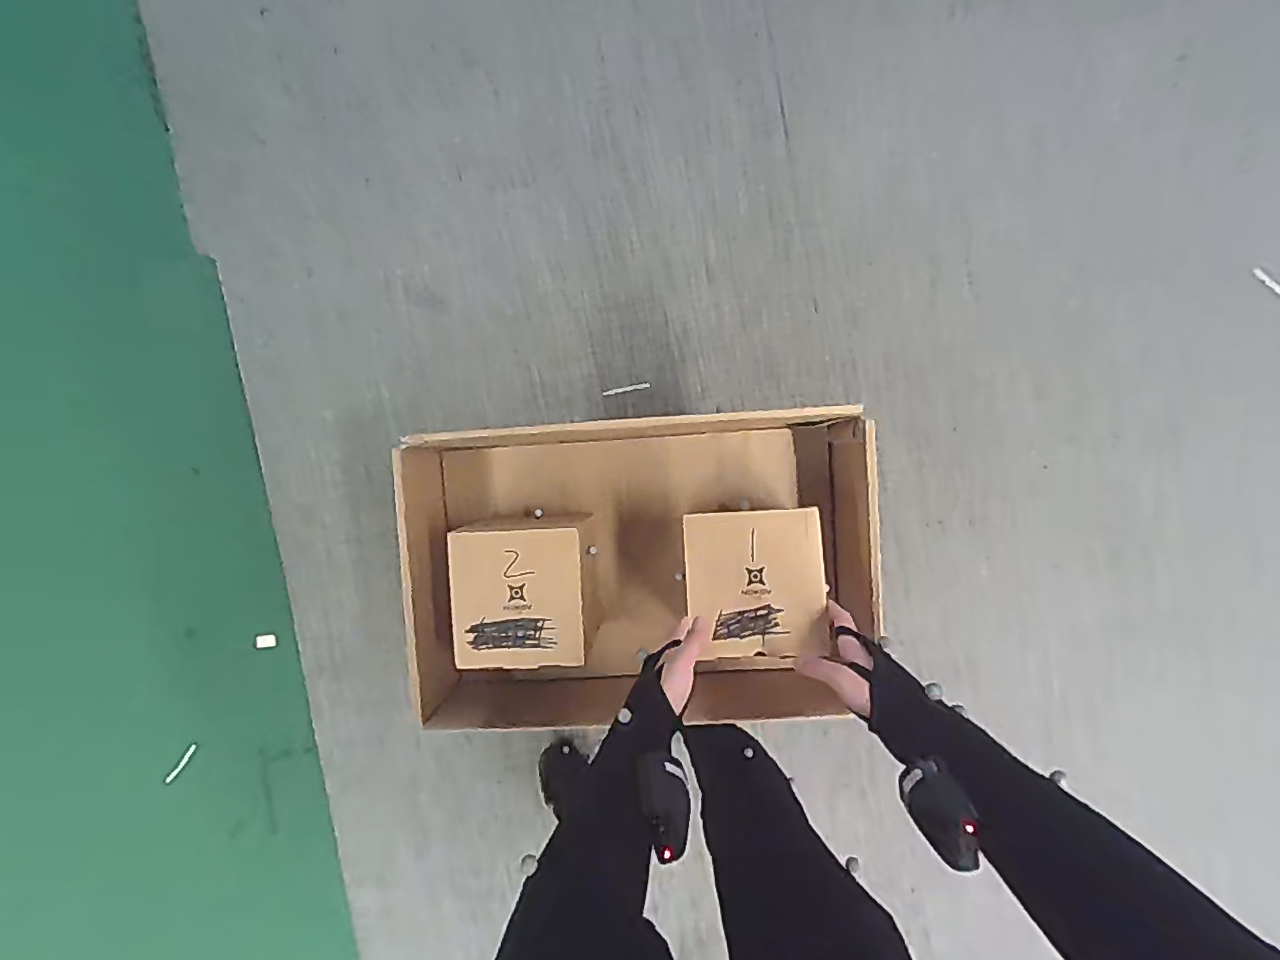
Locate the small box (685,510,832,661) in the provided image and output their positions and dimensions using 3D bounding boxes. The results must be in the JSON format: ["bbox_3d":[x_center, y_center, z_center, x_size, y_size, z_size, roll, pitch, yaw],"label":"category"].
[{"bbox_3d":[0.148,0.134,0.721,0.168,0.176,0.179,-3,82,5],"label":"small box"}]
